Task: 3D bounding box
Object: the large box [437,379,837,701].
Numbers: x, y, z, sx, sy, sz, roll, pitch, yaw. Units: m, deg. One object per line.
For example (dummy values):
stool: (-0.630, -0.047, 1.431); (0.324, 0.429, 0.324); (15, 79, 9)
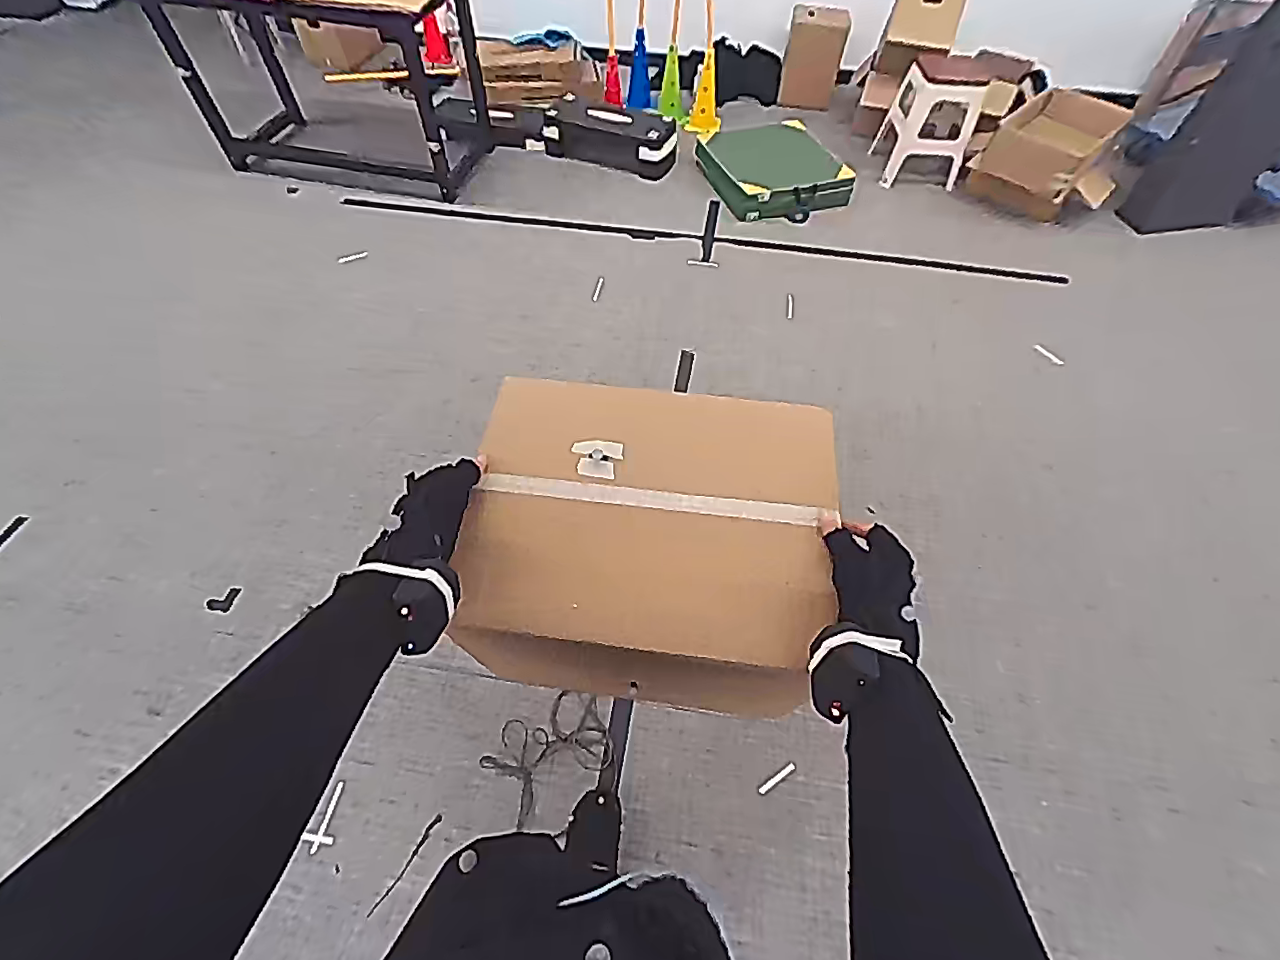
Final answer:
large box: (0.015, 0.094, 0.729); (0.408, 0.320, 0.320); (6, 59, 5)
